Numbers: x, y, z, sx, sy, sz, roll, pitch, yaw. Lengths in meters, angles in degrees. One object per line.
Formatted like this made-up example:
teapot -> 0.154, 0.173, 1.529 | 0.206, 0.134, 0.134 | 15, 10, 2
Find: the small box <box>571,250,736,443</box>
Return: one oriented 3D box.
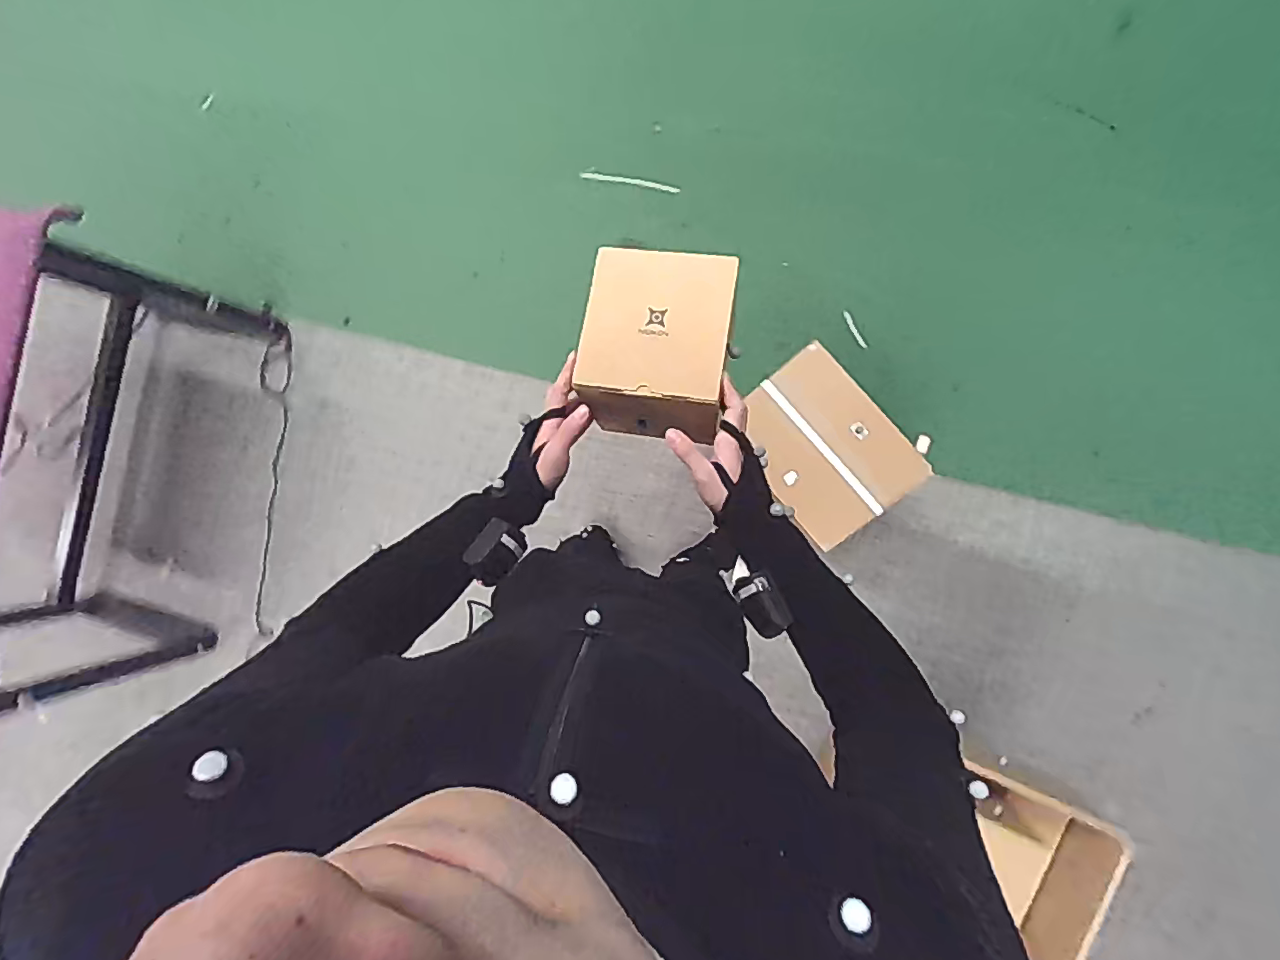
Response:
small box -> 0.023, -0.159, 0.684 | 0.168, 0.176, 0.179 | 8, 81, 8
